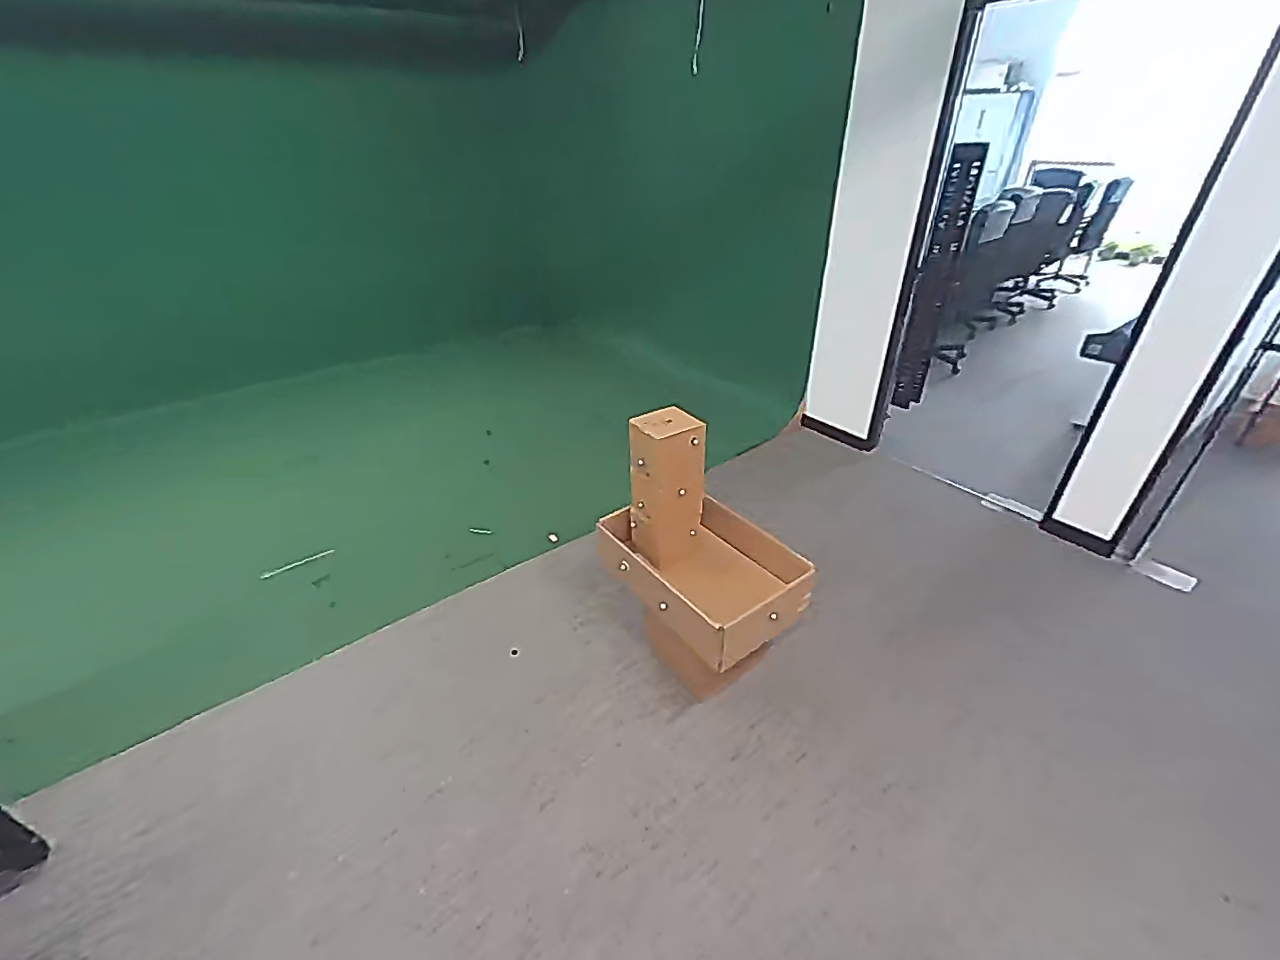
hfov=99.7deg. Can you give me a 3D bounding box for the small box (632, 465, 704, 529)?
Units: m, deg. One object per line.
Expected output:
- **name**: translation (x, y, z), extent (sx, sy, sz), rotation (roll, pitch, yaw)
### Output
- **small box**: translation (0.086, 0.032, 1.766), extent (0.179, 0.176, 0.168), rotation (-21, 37, -28)

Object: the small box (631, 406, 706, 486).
- **small box**: translation (0.084, -0.107, 1.678), extent (0.179, 0.176, 0.168), rotation (-20, 37, -26)
